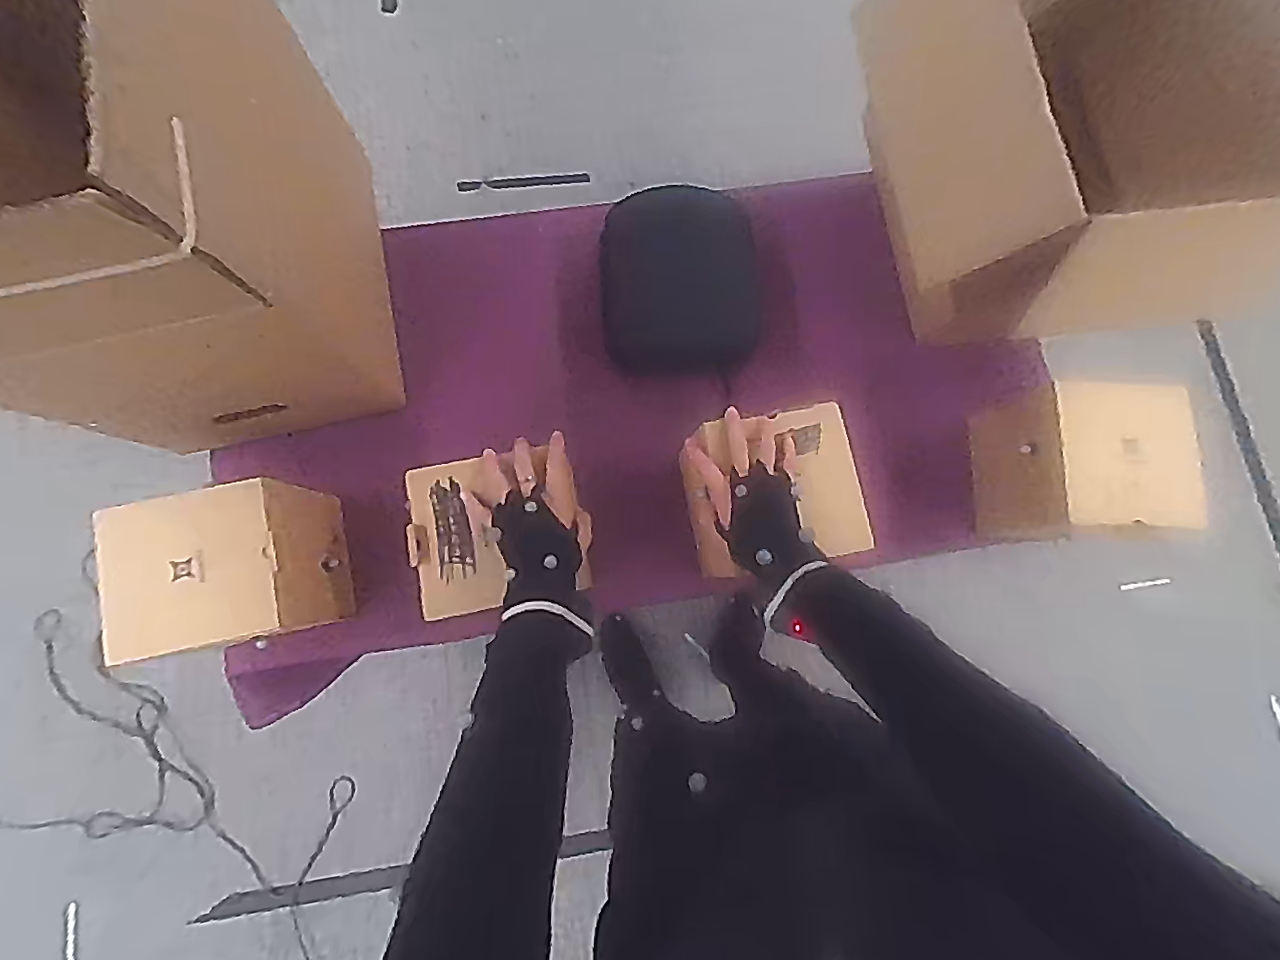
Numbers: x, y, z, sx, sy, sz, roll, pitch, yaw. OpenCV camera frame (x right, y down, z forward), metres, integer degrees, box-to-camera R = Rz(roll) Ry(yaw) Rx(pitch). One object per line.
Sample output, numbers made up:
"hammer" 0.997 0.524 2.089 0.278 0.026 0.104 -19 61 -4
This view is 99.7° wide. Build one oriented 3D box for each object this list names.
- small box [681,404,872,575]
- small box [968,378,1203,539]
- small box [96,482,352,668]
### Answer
"small box" 0.157 0.021 0.682 0.168 0.176 0.179 -9 82 -7
"small box" 0.560 -0.019 0.708 0.168 0.176 0.179 2 80 -1
"small box" -0.479 0.112 0.645 0.179 0.176 0.168 -13 81 -6
